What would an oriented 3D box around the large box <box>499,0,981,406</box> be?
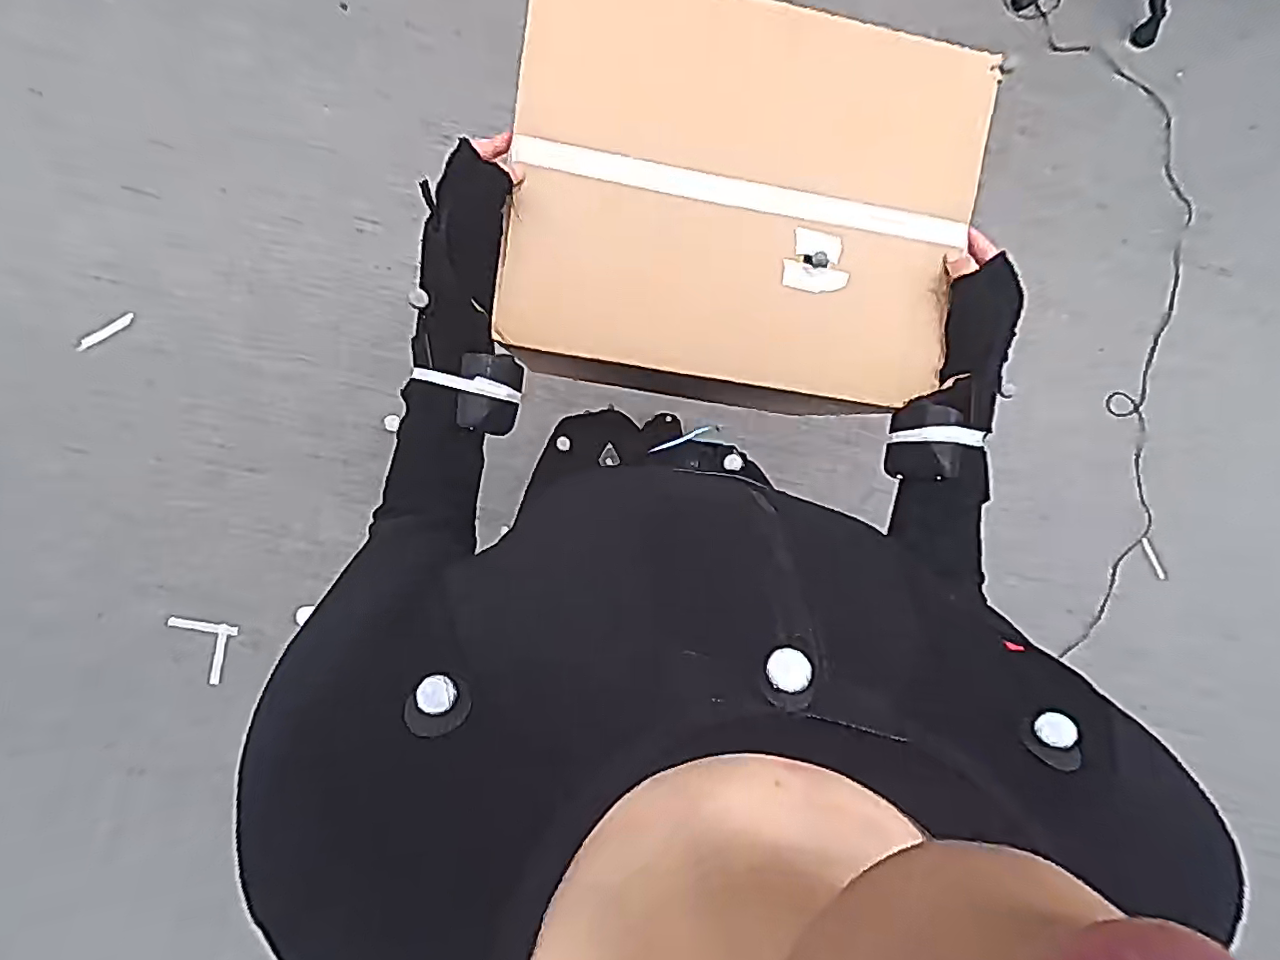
[{"bbox_3d":[0.073,-0.266,0.622,0.408,0.320,0.320,8,97,-7],"label":"large box"}]
